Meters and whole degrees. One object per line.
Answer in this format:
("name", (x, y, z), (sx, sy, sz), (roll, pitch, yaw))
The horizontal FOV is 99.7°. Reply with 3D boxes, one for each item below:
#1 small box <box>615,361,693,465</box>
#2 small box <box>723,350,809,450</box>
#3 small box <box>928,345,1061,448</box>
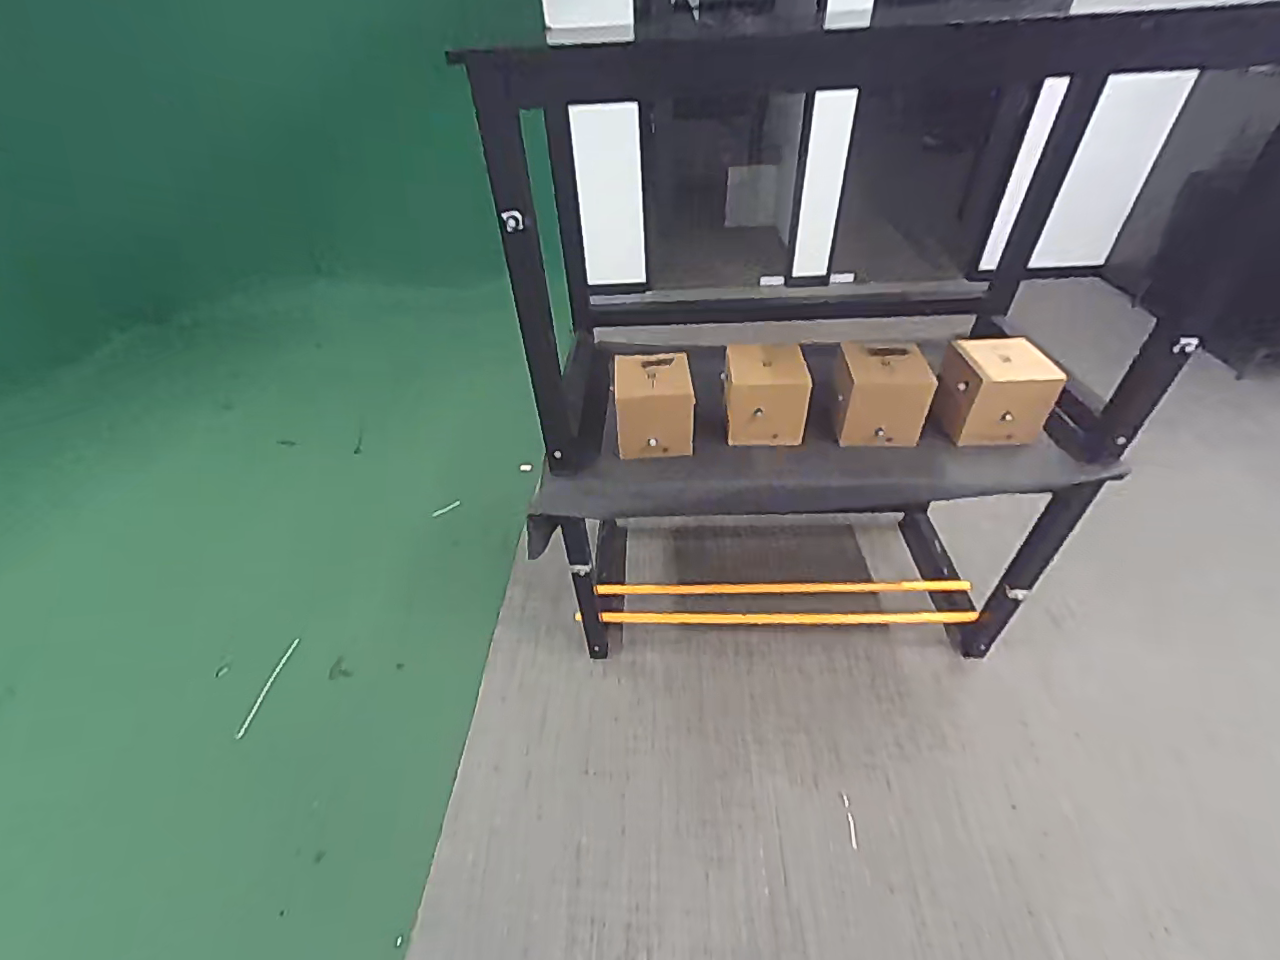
("small box", (0.029, -0.153, 1.230), (0.168, 0.176, 0.179), (-4, 41, 0))
("small box", (0.282, -0.180, 1.245), (0.168, 0.176, 0.179), (-1, 40, 3))
("small box", (0.773, -0.183, 1.201), (0.168, 0.176, 0.179), (-1, 40, 3))
